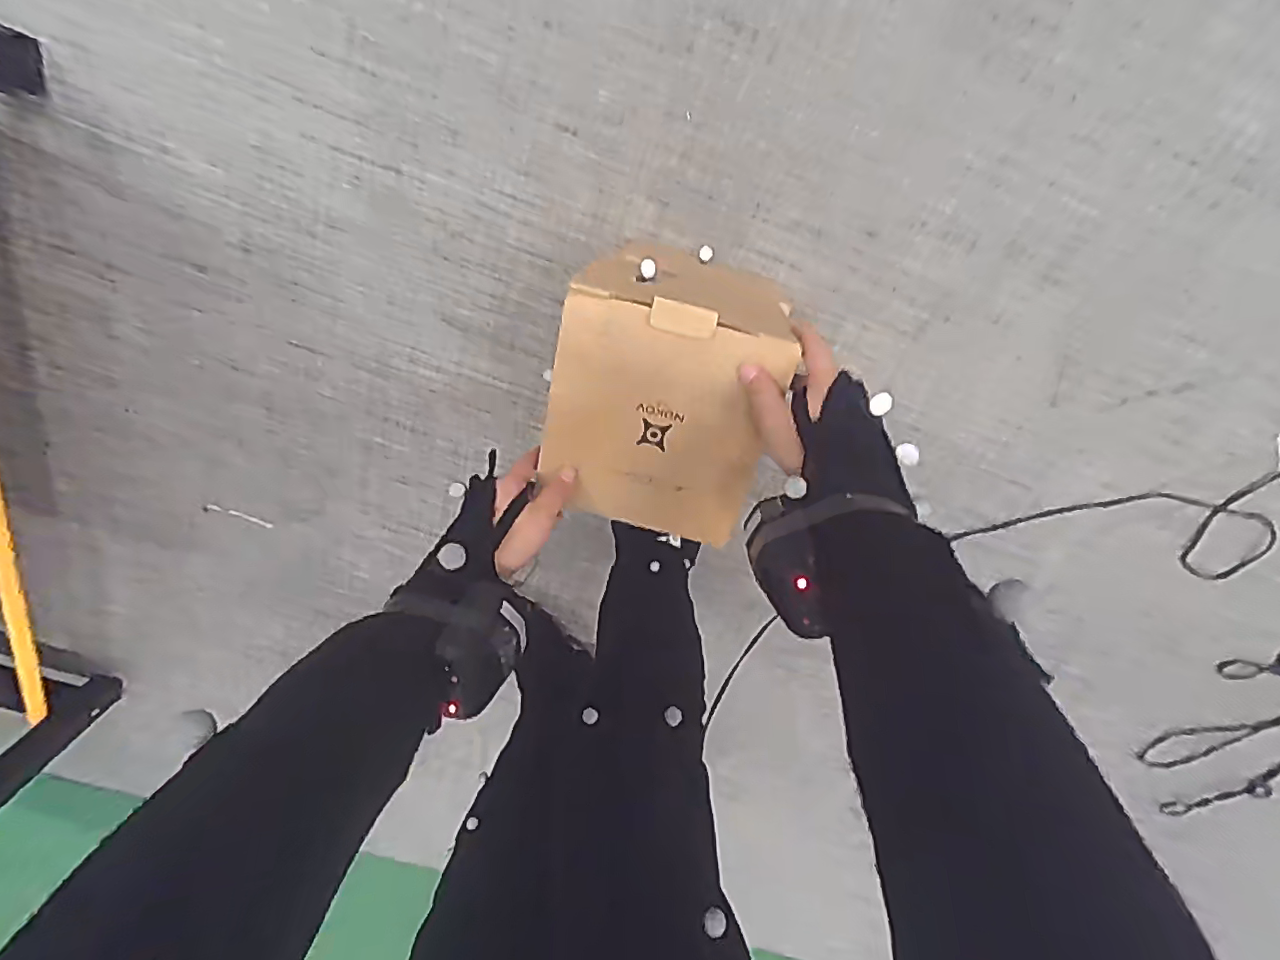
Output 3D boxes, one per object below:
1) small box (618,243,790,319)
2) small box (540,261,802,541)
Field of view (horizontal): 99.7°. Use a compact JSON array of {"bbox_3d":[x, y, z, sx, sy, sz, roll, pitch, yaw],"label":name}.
[{"bbox_3d":[0.051,-0.170,0.635,0.179,0.176,0.168,15,119,-3],"label":"small box"},{"bbox_3d":[0.023,-0.080,0.475,0.168,0.176,0.179,14,120,1],"label":"small box"}]
